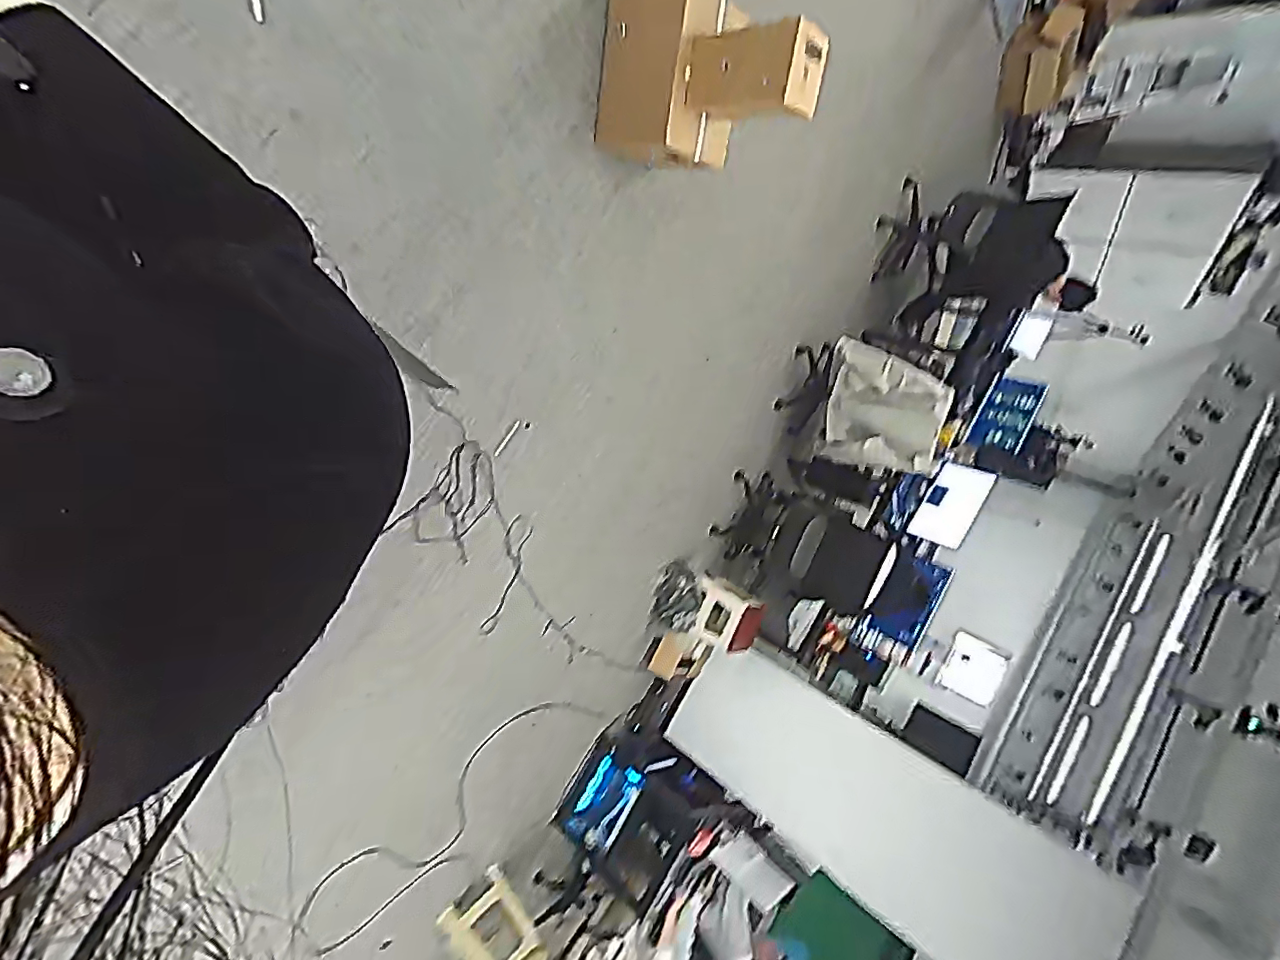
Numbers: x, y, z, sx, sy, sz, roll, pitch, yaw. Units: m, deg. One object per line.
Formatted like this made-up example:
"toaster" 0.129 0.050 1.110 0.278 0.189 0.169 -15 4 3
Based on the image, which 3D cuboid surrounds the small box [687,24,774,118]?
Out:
"small box" 0.252 -1.157 1.542 0.168 0.176 0.179 -18 126 -44
